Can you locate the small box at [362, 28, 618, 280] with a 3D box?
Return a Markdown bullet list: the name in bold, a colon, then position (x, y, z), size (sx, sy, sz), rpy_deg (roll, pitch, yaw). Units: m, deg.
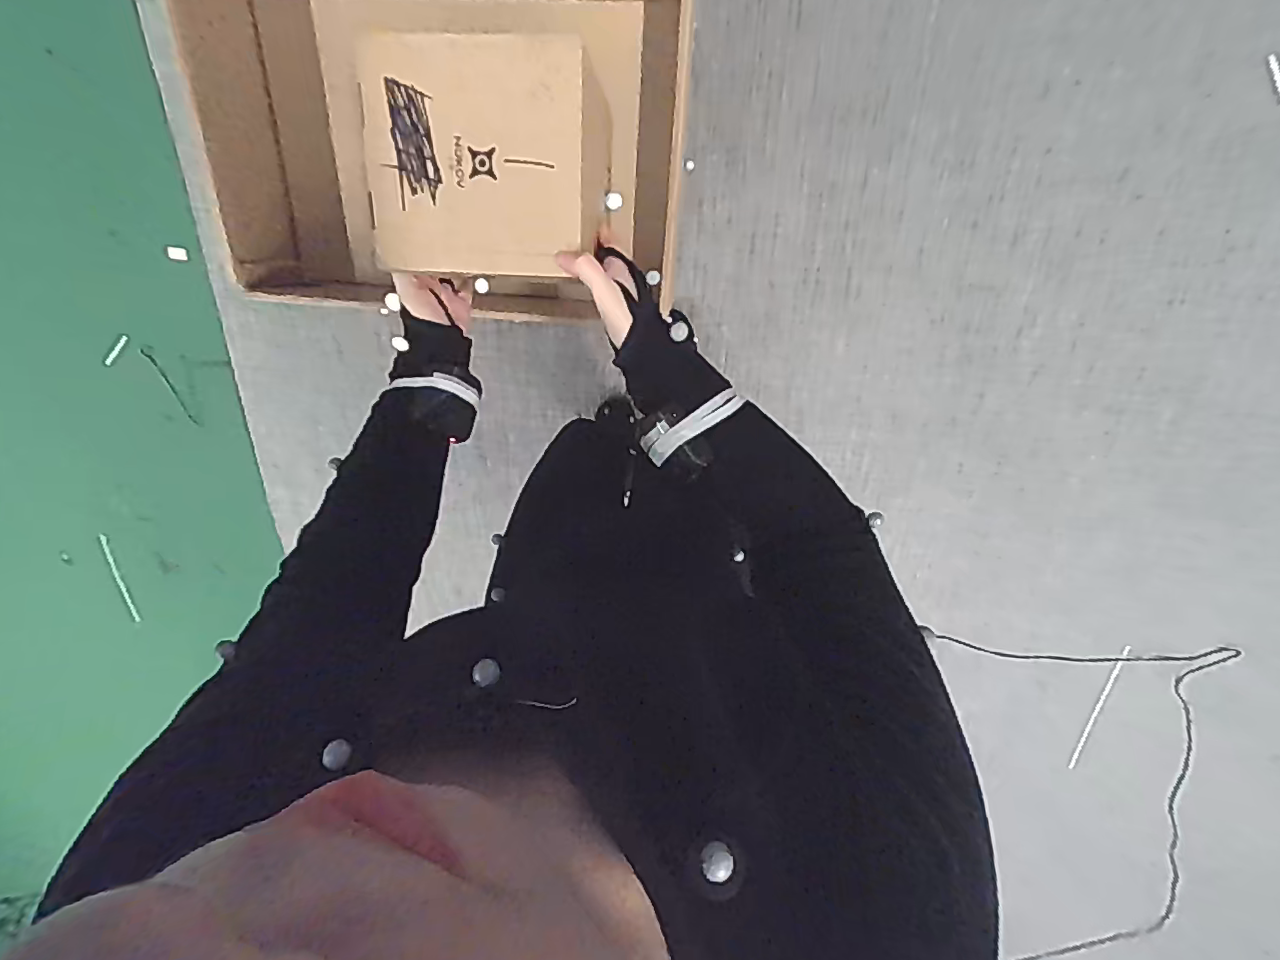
- **small box**: position (-0.122, -0.280, 0.501), size (0.179, 0.176, 0.168), rpy_deg (4, 108, 4)
